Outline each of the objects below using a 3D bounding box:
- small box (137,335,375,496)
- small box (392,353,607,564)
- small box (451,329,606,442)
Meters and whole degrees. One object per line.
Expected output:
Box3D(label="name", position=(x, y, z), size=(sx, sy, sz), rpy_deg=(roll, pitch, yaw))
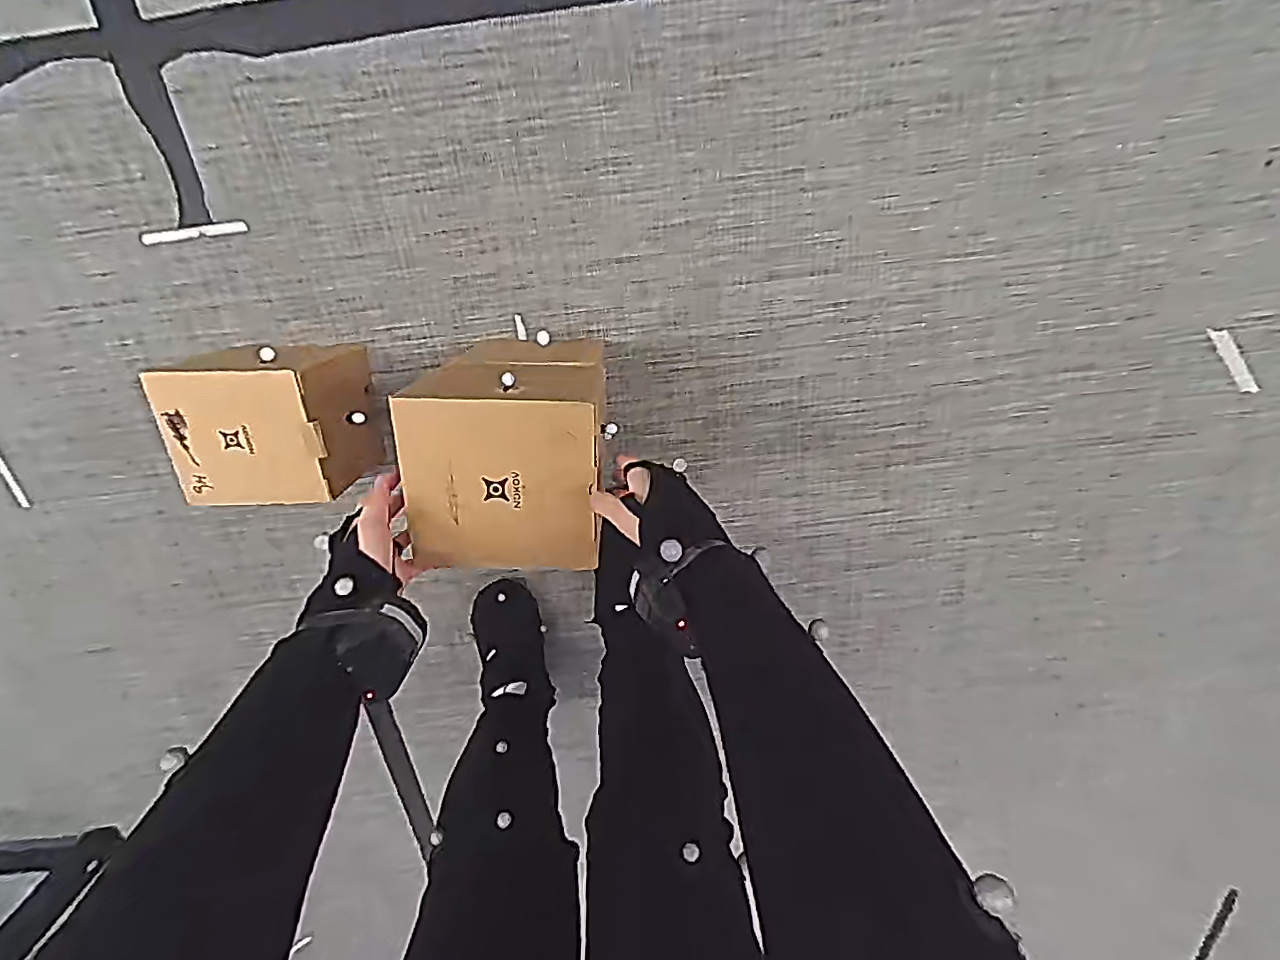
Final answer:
Box3D(label="small box", position=(-0.462, -0.090, 0.692), size=(0.179, 0.176, 0.168), rpy_deg=(0, 114, -2))
Box3D(label="small box", position=(-0.124, -0.030, 0.549), size=(0.179, 0.176, 0.168), rpy_deg=(2, 113, -2))
Box3D(label="small box", position=(-0.130, -0.092, 0.700), size=(0.168, 0.176, 0.179), rpy_deg=(1, 113, -2))
